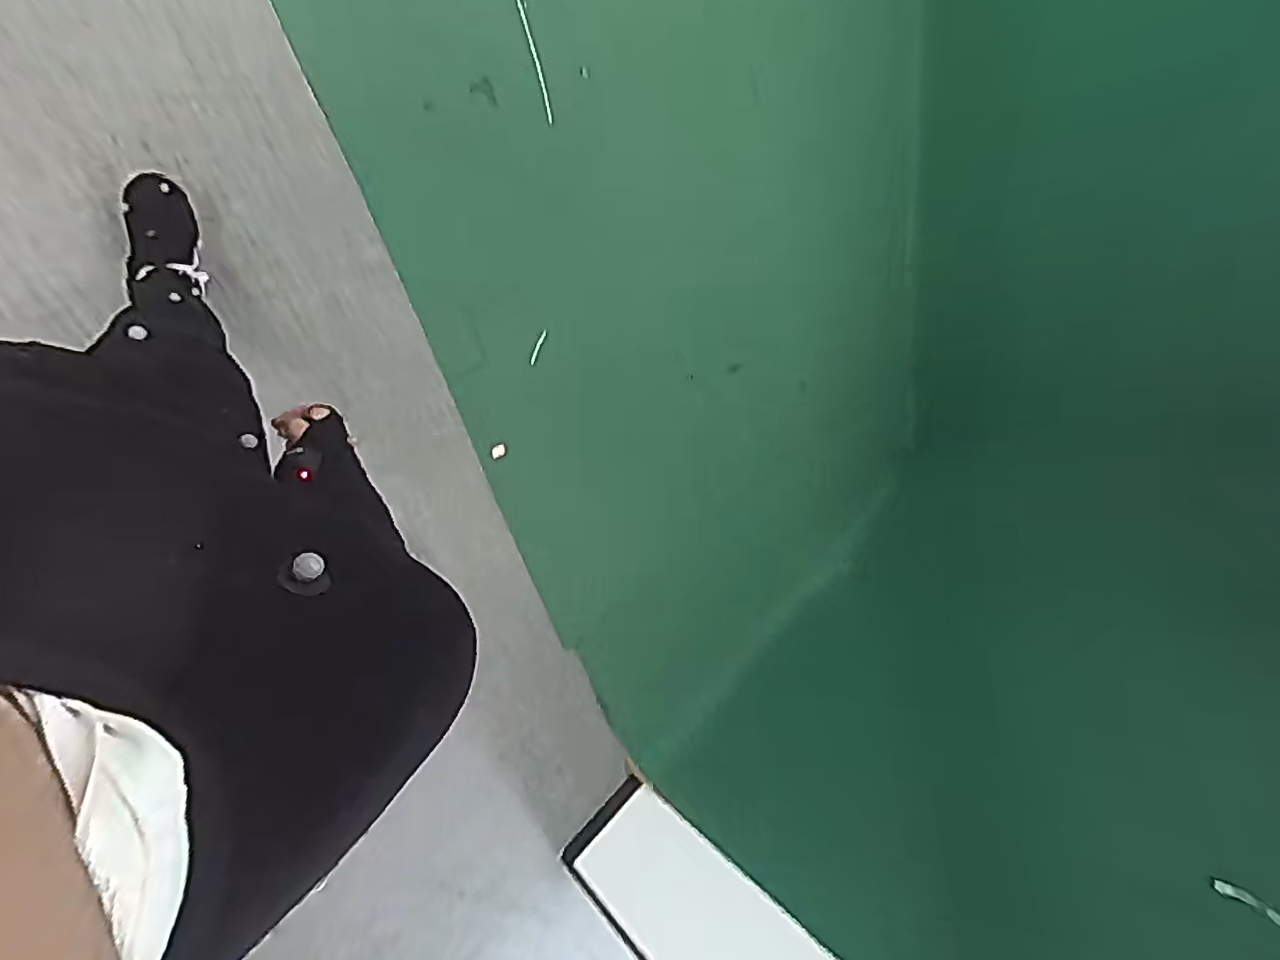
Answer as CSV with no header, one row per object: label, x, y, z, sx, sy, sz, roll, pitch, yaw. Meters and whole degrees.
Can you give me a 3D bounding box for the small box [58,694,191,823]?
small box,-1.179,0.625,1.244,0.168,0.176,0.179,-28,119,-34
